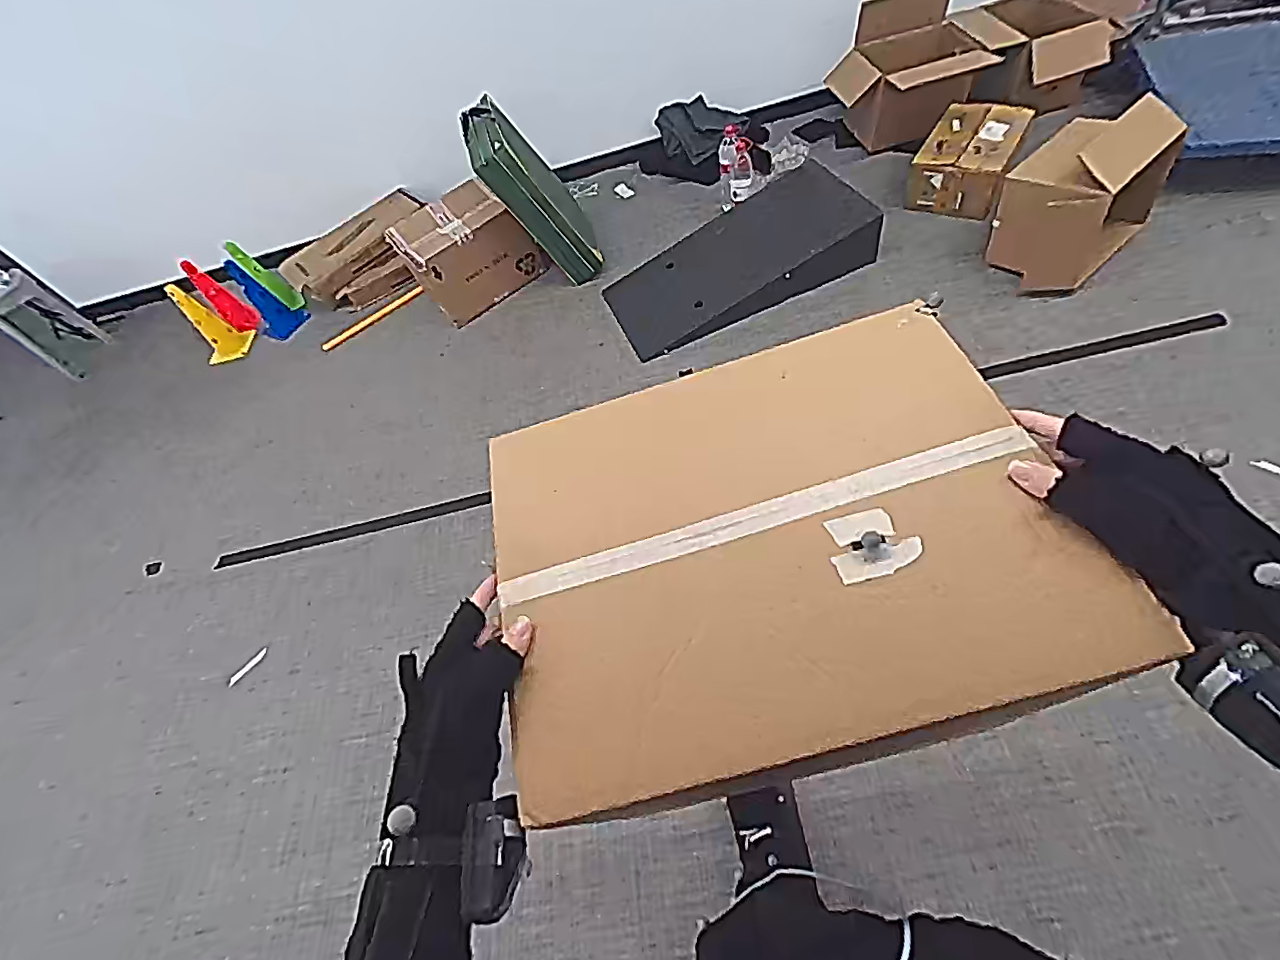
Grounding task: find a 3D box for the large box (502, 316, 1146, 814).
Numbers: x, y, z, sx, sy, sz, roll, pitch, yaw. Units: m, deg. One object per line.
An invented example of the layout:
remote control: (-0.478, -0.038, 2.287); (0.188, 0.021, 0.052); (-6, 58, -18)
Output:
large box: (0.120, 0.109, 0.543); (0.408, 0.320, 0.320); (-17, 57, 4)
